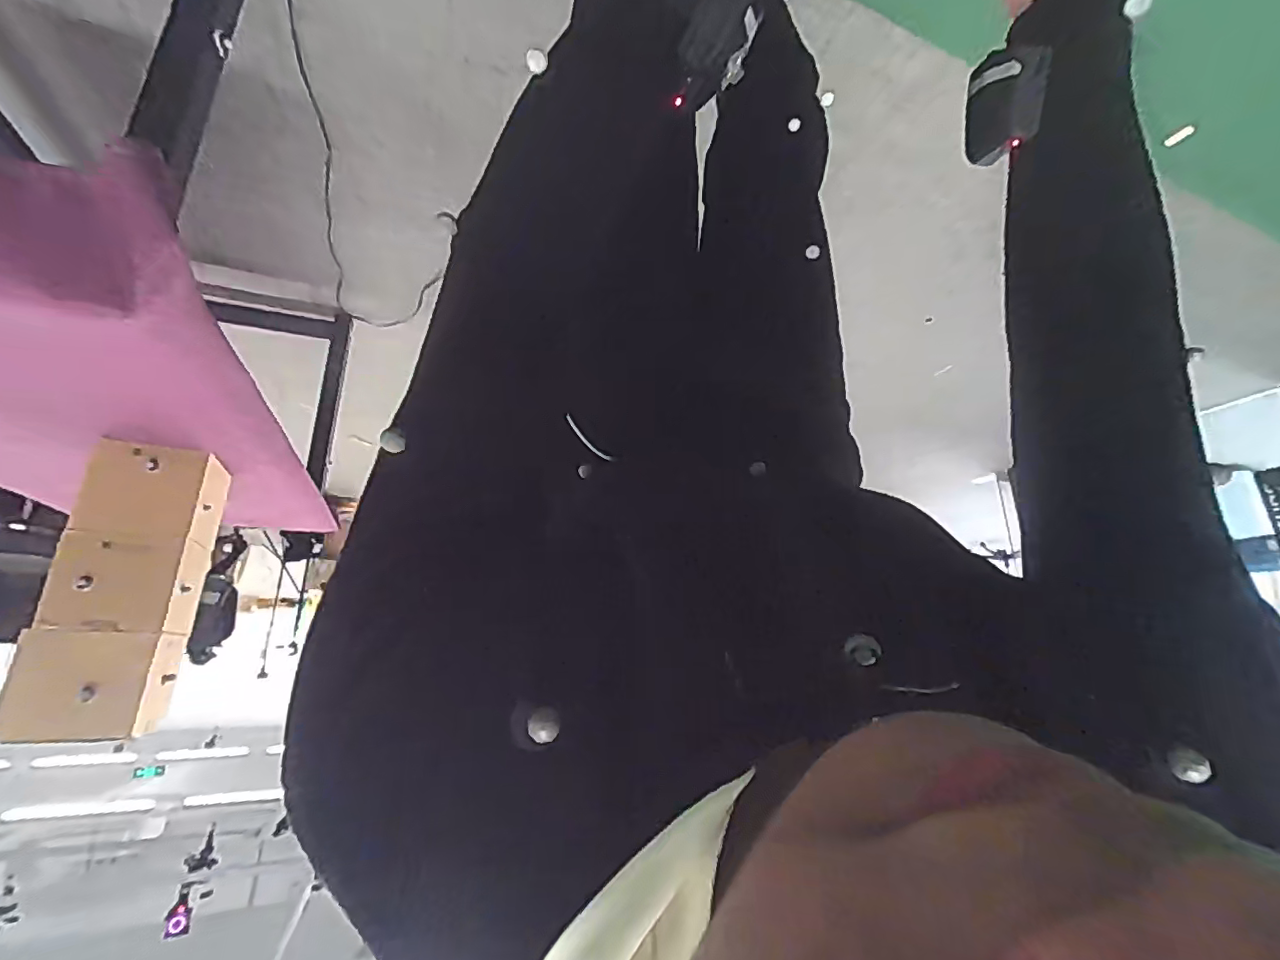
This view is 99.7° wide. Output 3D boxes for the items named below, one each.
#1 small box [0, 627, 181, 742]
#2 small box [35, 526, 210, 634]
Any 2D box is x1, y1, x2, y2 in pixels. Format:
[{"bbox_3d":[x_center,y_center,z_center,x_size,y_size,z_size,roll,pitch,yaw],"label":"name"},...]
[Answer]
[{"bbox_3d":[-0.919,0.338,0.917,0.179,0.176,0.168,9,159,-24],"label":"small box"},{"bbox_3d":[-0.911,0.184,0.972,0.168,0.176,0.179,9,160,-24],"label":"small box"}]
